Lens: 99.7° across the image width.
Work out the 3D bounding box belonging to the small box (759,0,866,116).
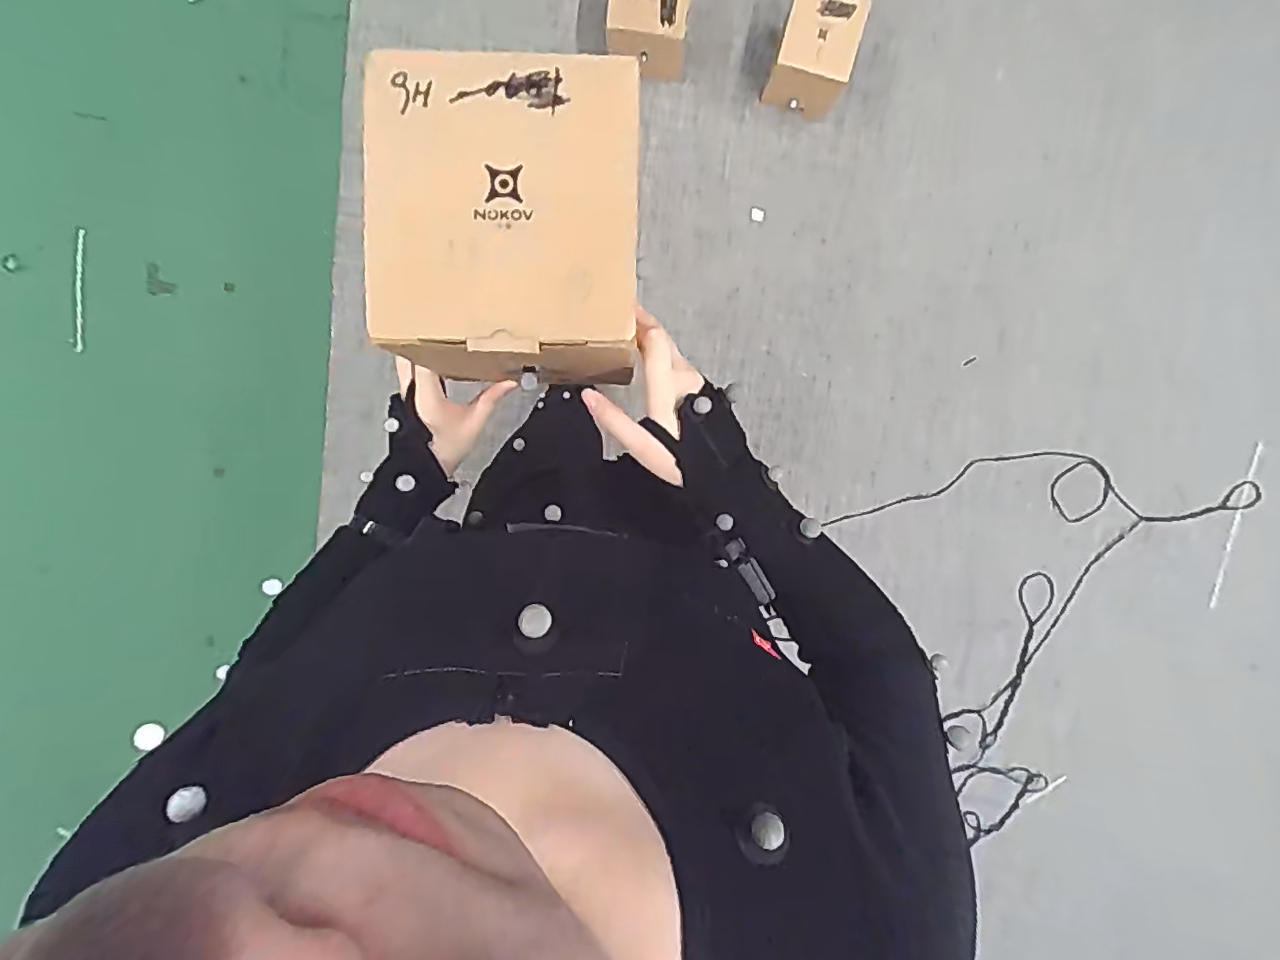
[{"bbox_3d":[0.387,-0.991,1.248,0.168,0.176,0.179,15,100,-3],"label":"small box"}]

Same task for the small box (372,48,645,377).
[{"bbox_3d":[-0.082,-0.175,0.410,0.168,0.176,0.179,1,93,-3],"label":"small box"}]
